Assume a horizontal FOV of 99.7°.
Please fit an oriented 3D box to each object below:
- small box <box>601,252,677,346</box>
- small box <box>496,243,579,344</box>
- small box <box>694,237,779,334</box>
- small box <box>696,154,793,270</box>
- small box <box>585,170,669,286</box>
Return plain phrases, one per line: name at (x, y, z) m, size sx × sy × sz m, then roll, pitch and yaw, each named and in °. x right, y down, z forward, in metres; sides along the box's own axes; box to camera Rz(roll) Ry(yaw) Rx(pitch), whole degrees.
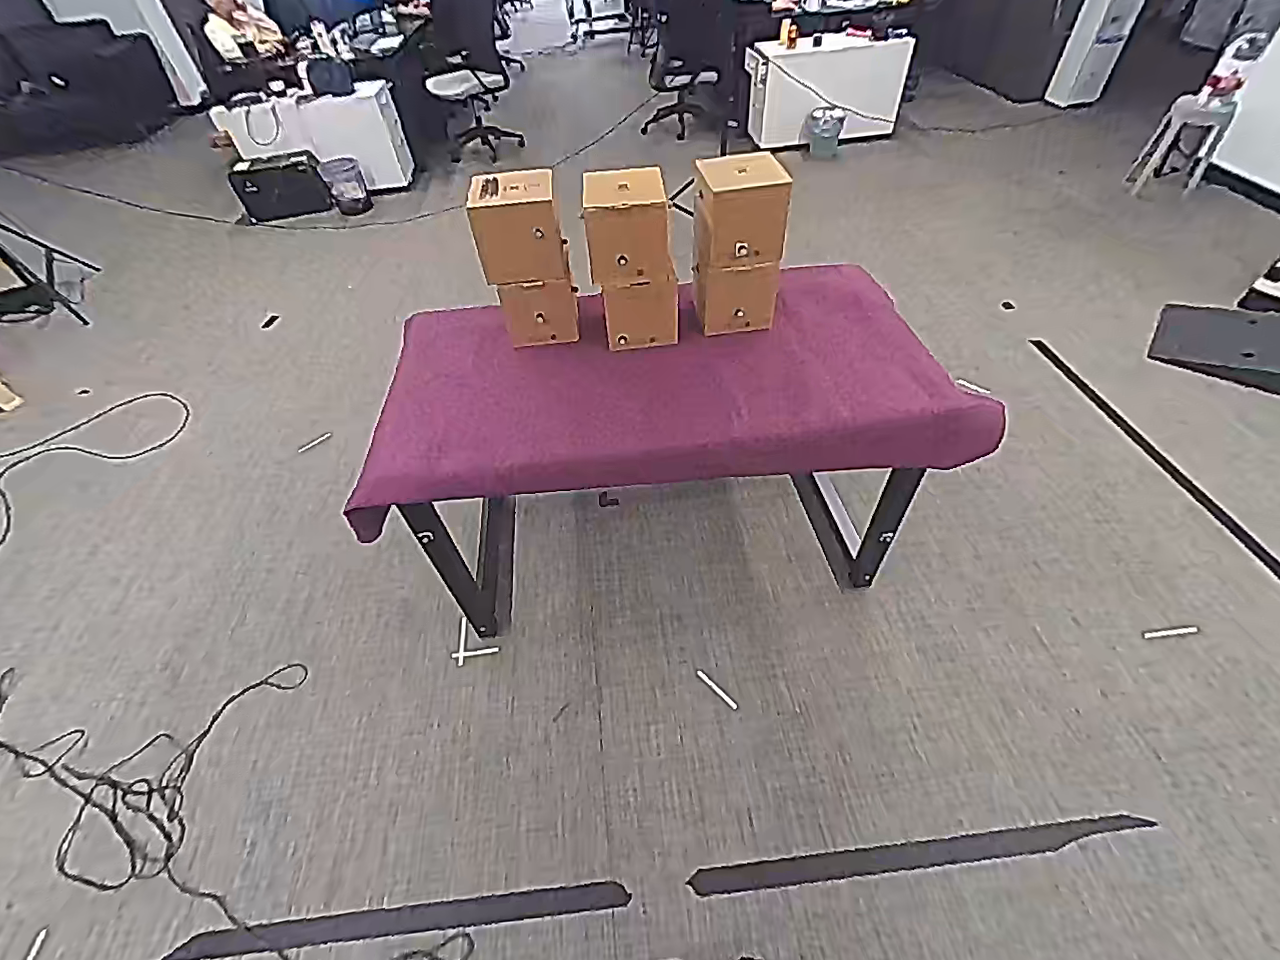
small box at (-0.004, -0.432, 1.284) m, size 0.168 × 0.176 × 0.179 m, roll -7°, pitch 49°, yaw -2°
small box at (-0.242, -0.446, 1.312) m, size 0.168 × 0.176 × 0.179 m, roll -7°, pitch 50°, yaw -2°
small box at (0.222, -0.475, 1.303) m, size 0.168 × 0.176 × 0.179 m, roll -7°, pitch 50°, yaw -1°
small box at (0.218, -0.586, 1.184) m, size 0.168 × 0.176 × 0.179 m, roll -9°, pitch 50°, yaw -3°
small box at (-0.028, -0.541, 1.164) m, size 0.168 × 0.176 × 0.179 m, roll -5°, pitch 50°, yaw 0°
